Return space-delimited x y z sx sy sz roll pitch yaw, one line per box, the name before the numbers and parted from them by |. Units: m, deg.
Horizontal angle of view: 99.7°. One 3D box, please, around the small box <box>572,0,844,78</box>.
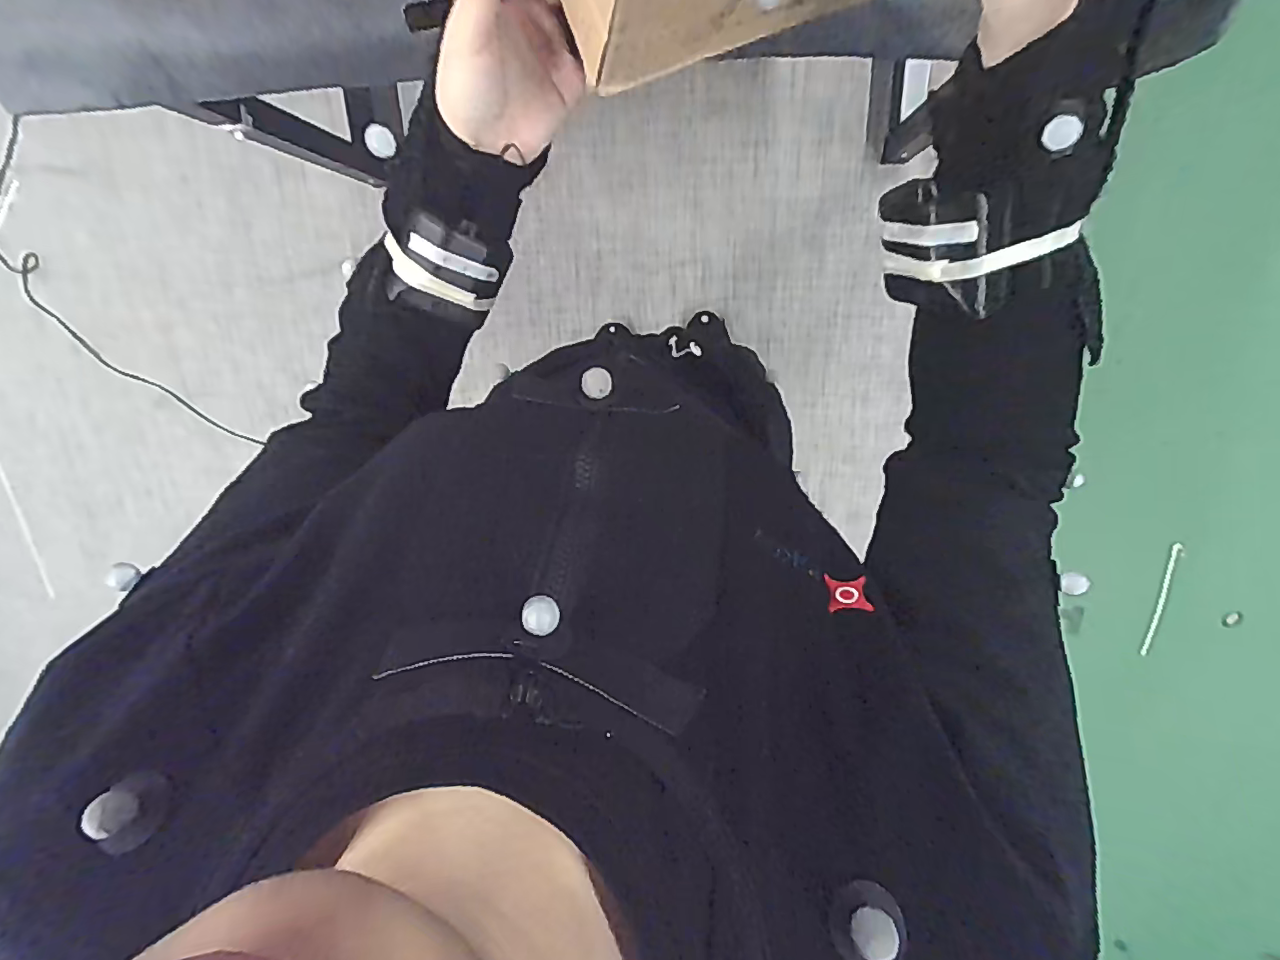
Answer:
small box | 0.037 -0.286 0.173 0.168 0.176 0.179 -26 106 -5
